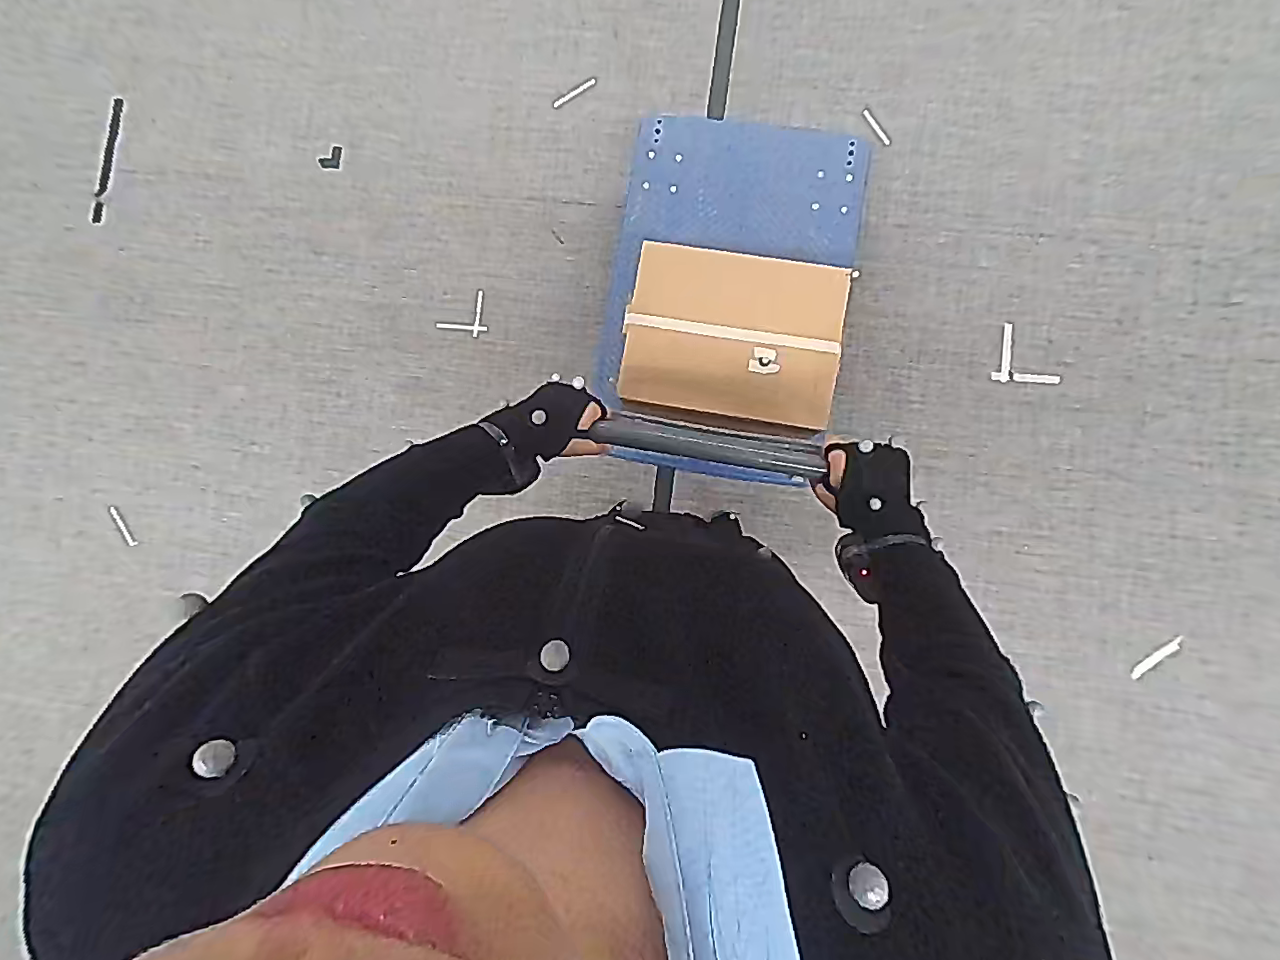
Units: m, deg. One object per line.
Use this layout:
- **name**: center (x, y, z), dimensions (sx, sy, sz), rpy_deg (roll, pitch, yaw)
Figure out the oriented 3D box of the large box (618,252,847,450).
- **large box**: center (0.180, -0.257, 1.180), dimensions (0.408, 0.320, 0.320), rpy_deg (10, 89, 3)
